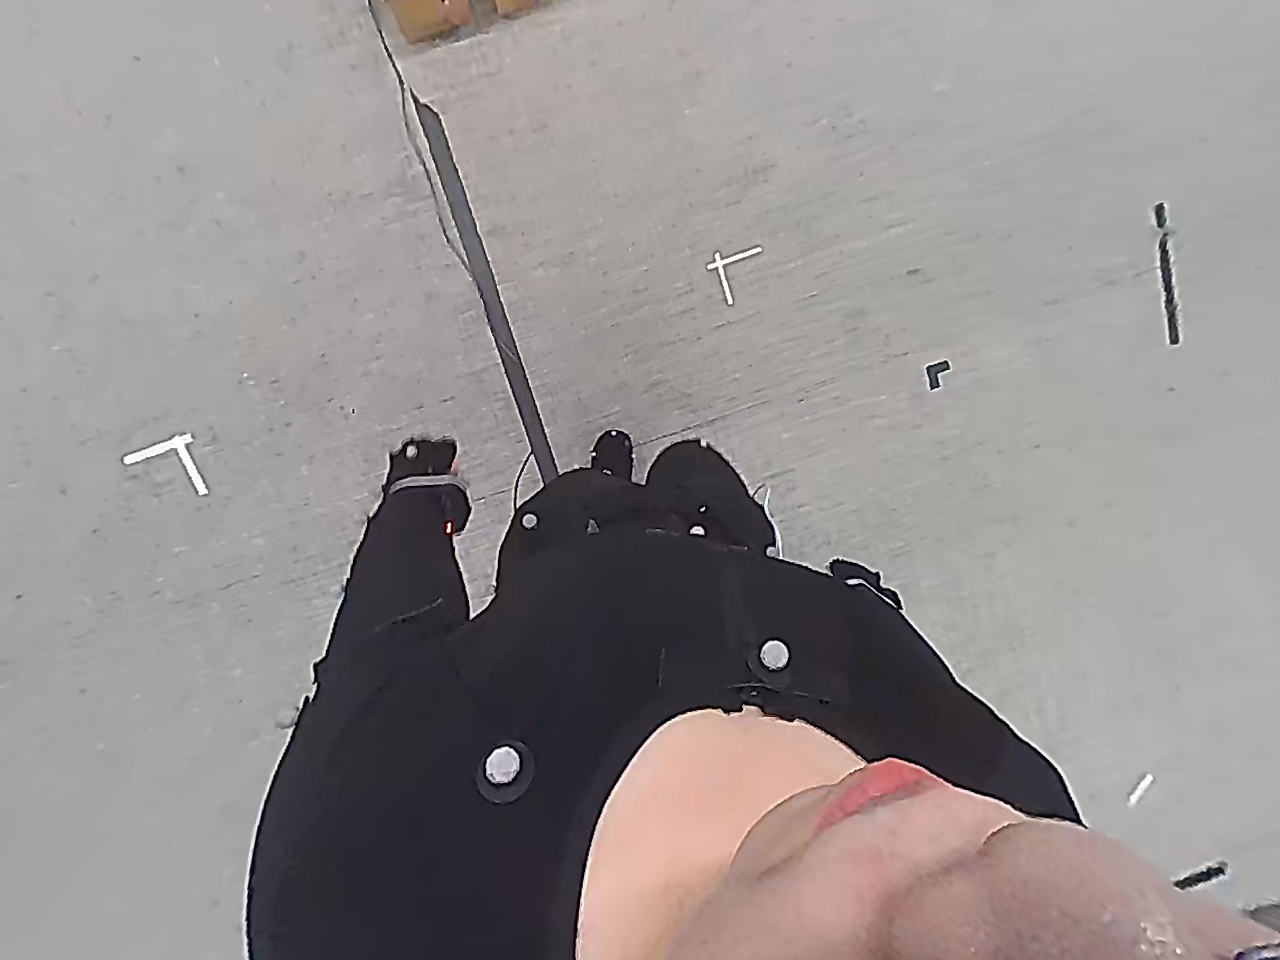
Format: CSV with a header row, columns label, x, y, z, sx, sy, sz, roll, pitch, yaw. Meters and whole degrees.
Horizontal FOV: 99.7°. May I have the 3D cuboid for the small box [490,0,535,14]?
label,x,y,z,sx,sy,sz,roll,pitch,yaw
small box,-0.300,-1.217,1.212,0.168,0.176,0.179,-27,100,-1

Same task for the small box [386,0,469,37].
label,x,y,z,sx,sy,sz,roll,pitch,yaw
small box,-0.503,-1.141,1.204,0.168,0.176,0.179,-23,99,-2
